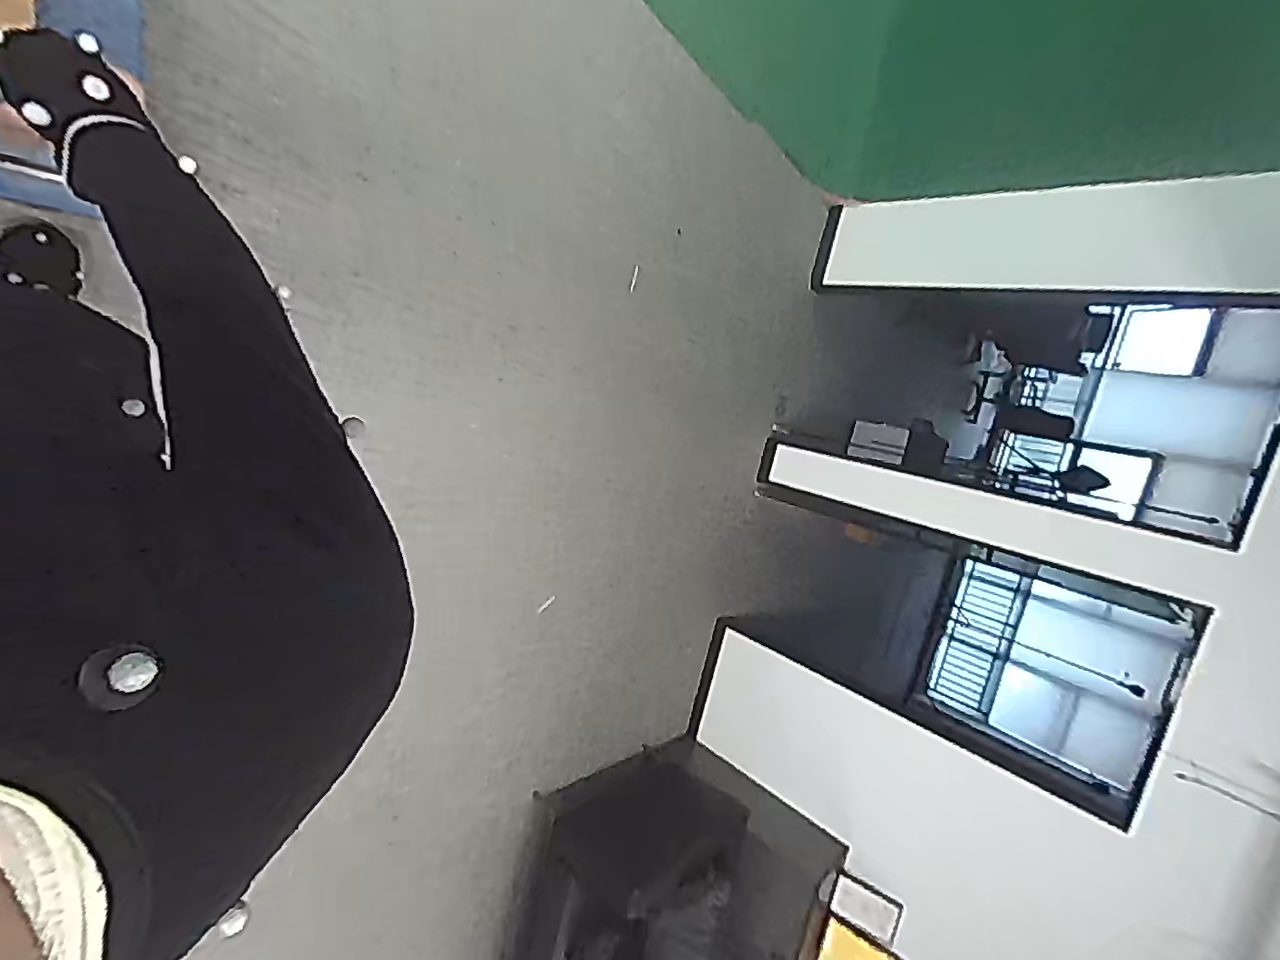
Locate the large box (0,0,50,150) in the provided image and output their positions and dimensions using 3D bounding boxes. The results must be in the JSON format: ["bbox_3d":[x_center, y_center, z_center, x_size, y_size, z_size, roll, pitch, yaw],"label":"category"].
[{"bbox_3d":[-0.978,-0.704,0.672,0.320,0.320,0.408,-3,106,-47],"label":"large box"}]
